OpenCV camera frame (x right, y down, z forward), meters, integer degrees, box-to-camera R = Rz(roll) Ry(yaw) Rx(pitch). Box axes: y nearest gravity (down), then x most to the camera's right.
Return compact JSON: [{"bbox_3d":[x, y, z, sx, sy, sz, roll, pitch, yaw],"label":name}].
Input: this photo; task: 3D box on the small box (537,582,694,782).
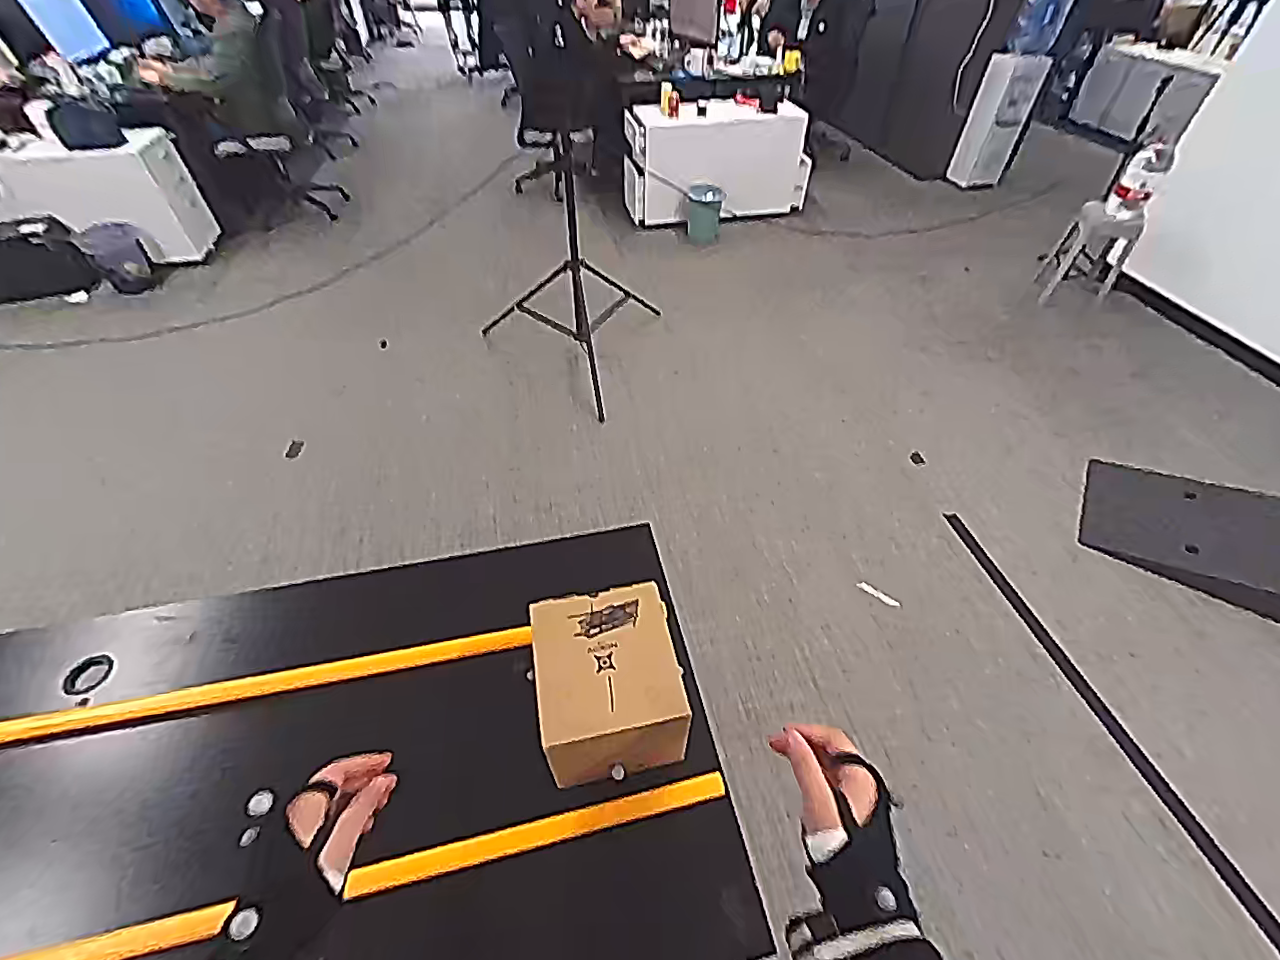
[{"bbox_3d":[-0.036,0.260,0.699,0.168,0.176,0.179,-9,48,-8],"label":"small box"}]
